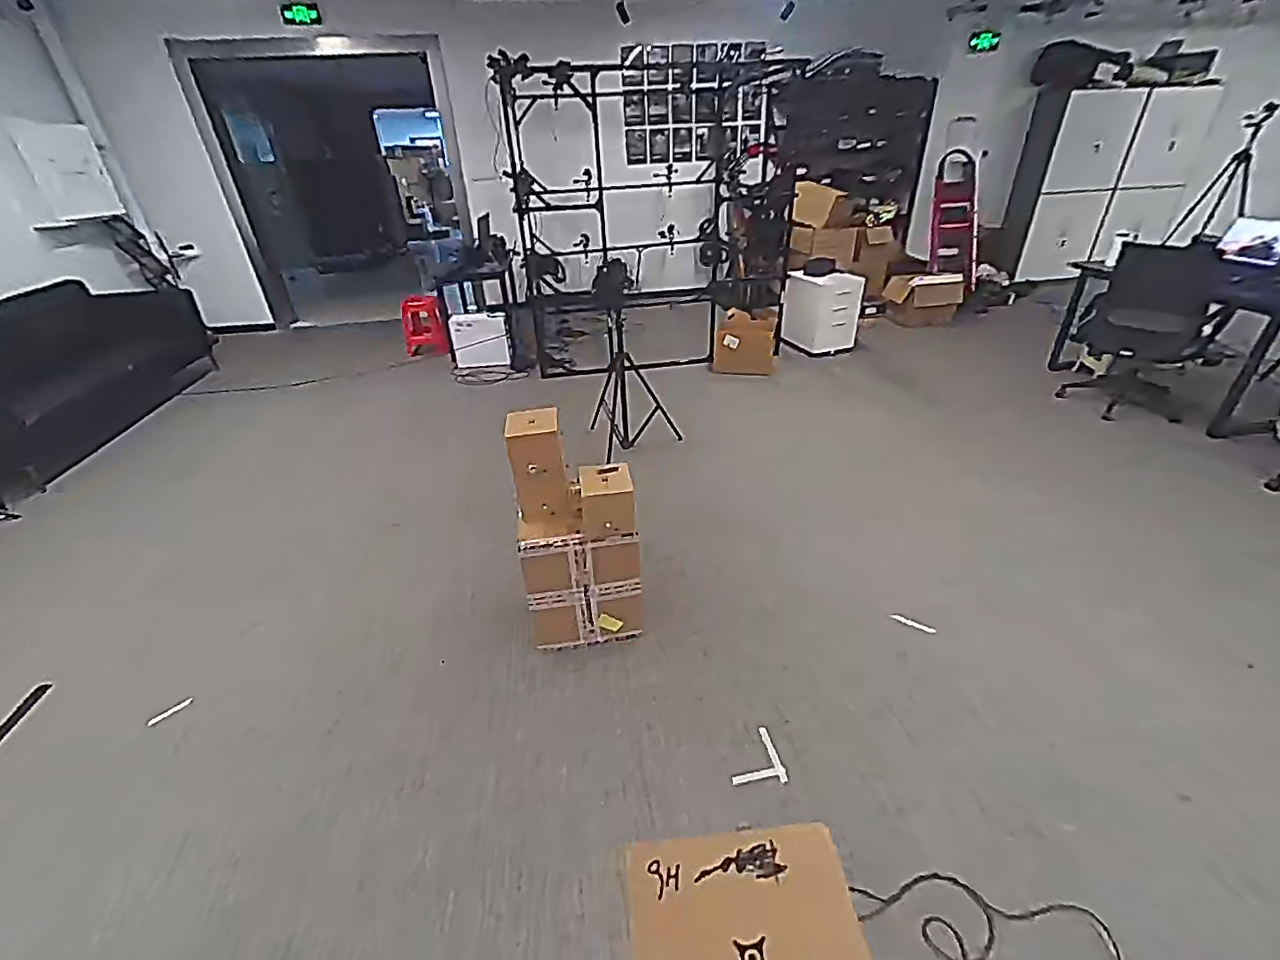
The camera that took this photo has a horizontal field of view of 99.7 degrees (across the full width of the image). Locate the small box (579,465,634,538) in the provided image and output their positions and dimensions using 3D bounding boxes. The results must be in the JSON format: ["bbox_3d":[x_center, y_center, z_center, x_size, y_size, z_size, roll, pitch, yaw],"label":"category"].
[{"bbox_3d":[-0.113,0.071,1.783,0.168,0.176,0.179,-6,34,-7],"label":"small box"}]

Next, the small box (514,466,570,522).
[{"bbox_3d":[-0.335,0.025,1.870,0.168,0.176,0.179,-8,33,-5],"label":"small box"}]

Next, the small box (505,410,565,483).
[{"bbox_3d":[-0.343,-0.111,1.782,0.168,0.176,0.179,-8,34,-5],"label":"small box"}]
